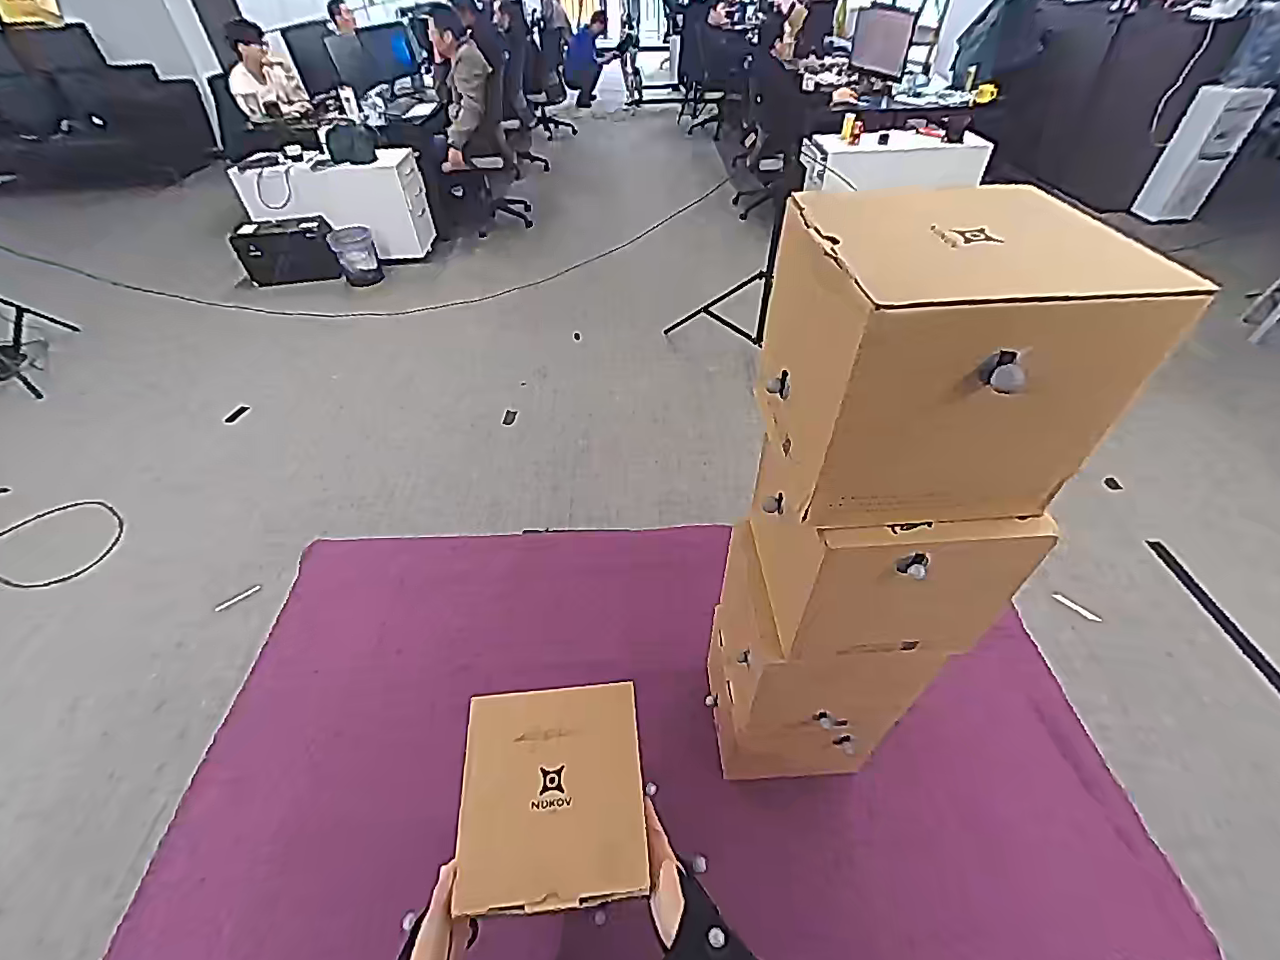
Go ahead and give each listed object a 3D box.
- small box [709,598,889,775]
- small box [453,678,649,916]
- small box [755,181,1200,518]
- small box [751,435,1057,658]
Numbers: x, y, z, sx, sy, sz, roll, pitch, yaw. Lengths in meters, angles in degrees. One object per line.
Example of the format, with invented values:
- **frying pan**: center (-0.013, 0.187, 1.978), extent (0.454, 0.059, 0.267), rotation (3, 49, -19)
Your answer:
- **small box**: center (0.191, 0.271, 0.712), extent (0.179, 0.176, 0.168), rotation (-4, 44, 0)
- **small box**: center (-0.080, 0.326, 0.556), extent (0.168, 0.176, 0.179), rotation (-5, 50, -4)
- **small box**: center (0.191, -0.088, 0.377), extent (0.179, 0.176, 0.168), rotation (-4, 45, -1)
- **small box**: center (0.202, 0.036, 0.483), extent (0.168, 0.176, 0.179), rotation (-3, 44, -1)
